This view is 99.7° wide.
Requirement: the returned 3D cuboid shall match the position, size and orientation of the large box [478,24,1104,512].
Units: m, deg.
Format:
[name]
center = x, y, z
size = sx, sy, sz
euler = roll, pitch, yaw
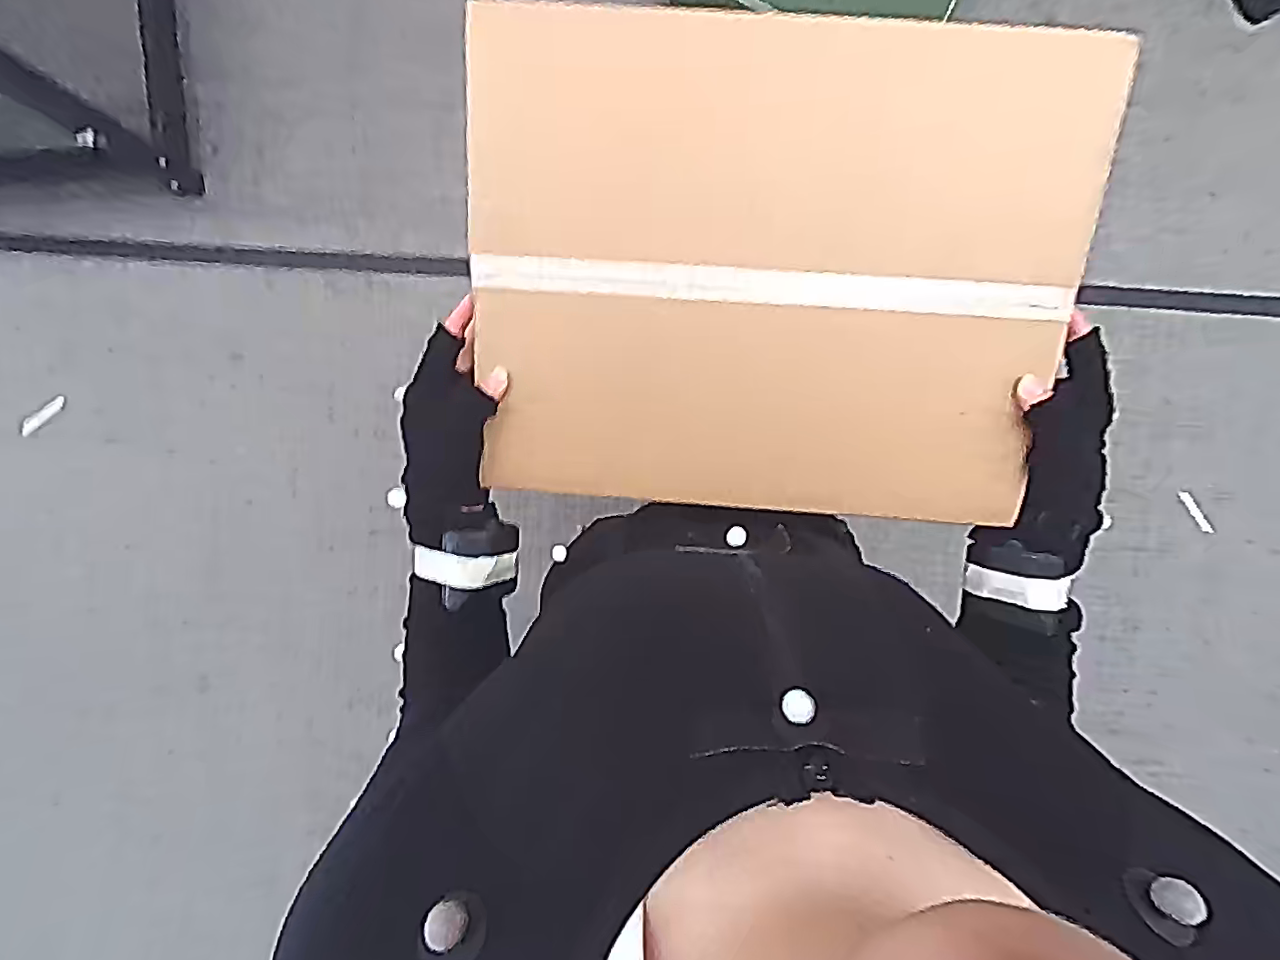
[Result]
[large box]
center = 0.090, -0.172, 0.524
size = 0.408, 0.320, 0.320
euler = 4, 106, 1
